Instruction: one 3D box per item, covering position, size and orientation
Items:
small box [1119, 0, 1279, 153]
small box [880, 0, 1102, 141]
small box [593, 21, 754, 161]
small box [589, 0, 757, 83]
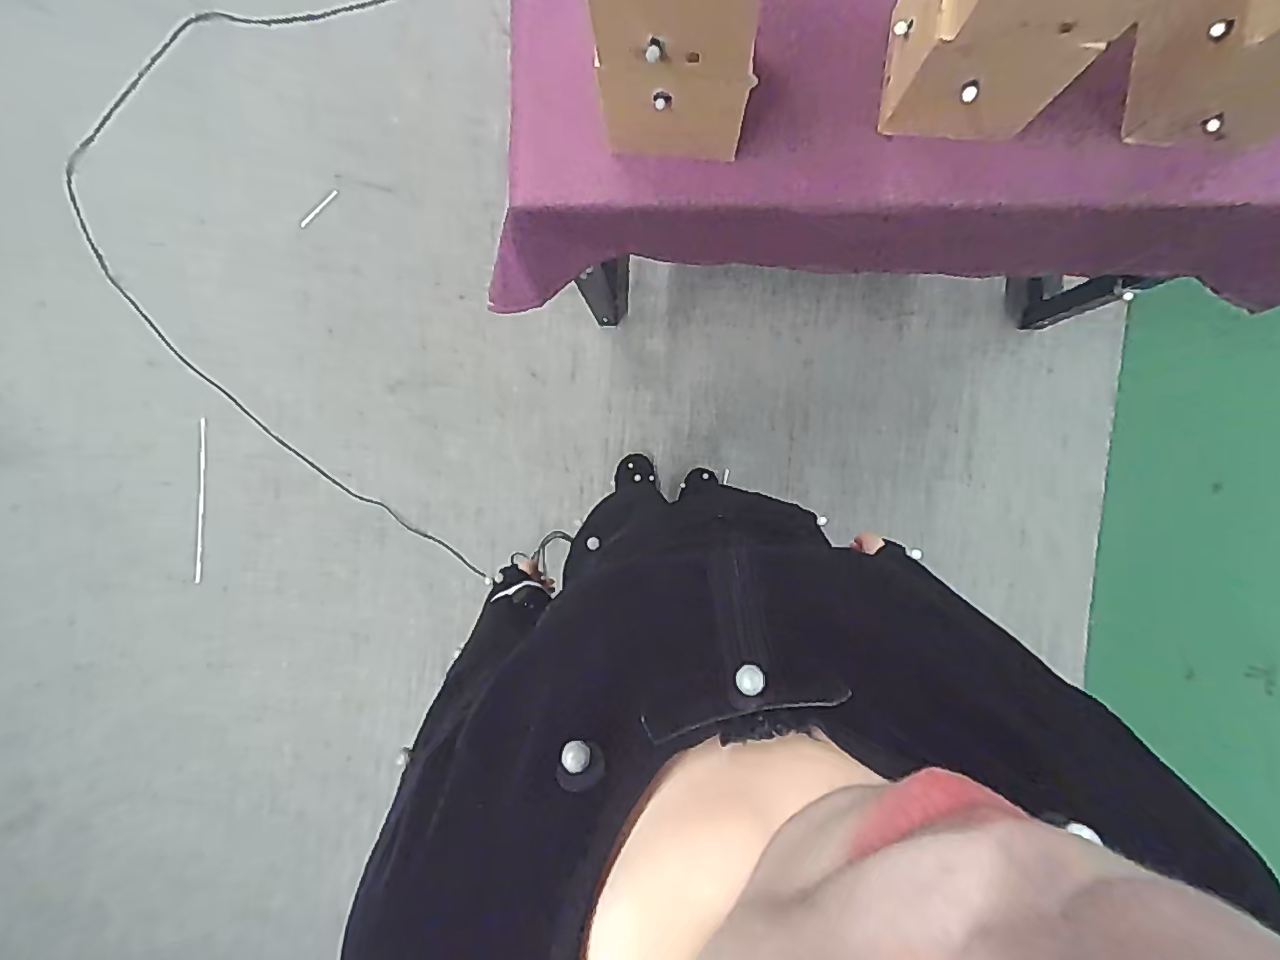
[{"bbox_3d":[0.721,-0.526,0.637,0.168,0.176,0.179,7,92,4],"label":"small box"},{"bbox_3d":[0.411,-0.542,0.655,0.179,0.176,0.168,6,92,4],"label":"small box"},{"bbox_3d":[0.046,-0.530,0.678,0.179,0.176,0.168,5,91,3],"label":"small box"},{"bbox_3d":[0.038,-0.530,0.515,0.168,0.176,0.179,7,92,4],"label":"small box"}]
